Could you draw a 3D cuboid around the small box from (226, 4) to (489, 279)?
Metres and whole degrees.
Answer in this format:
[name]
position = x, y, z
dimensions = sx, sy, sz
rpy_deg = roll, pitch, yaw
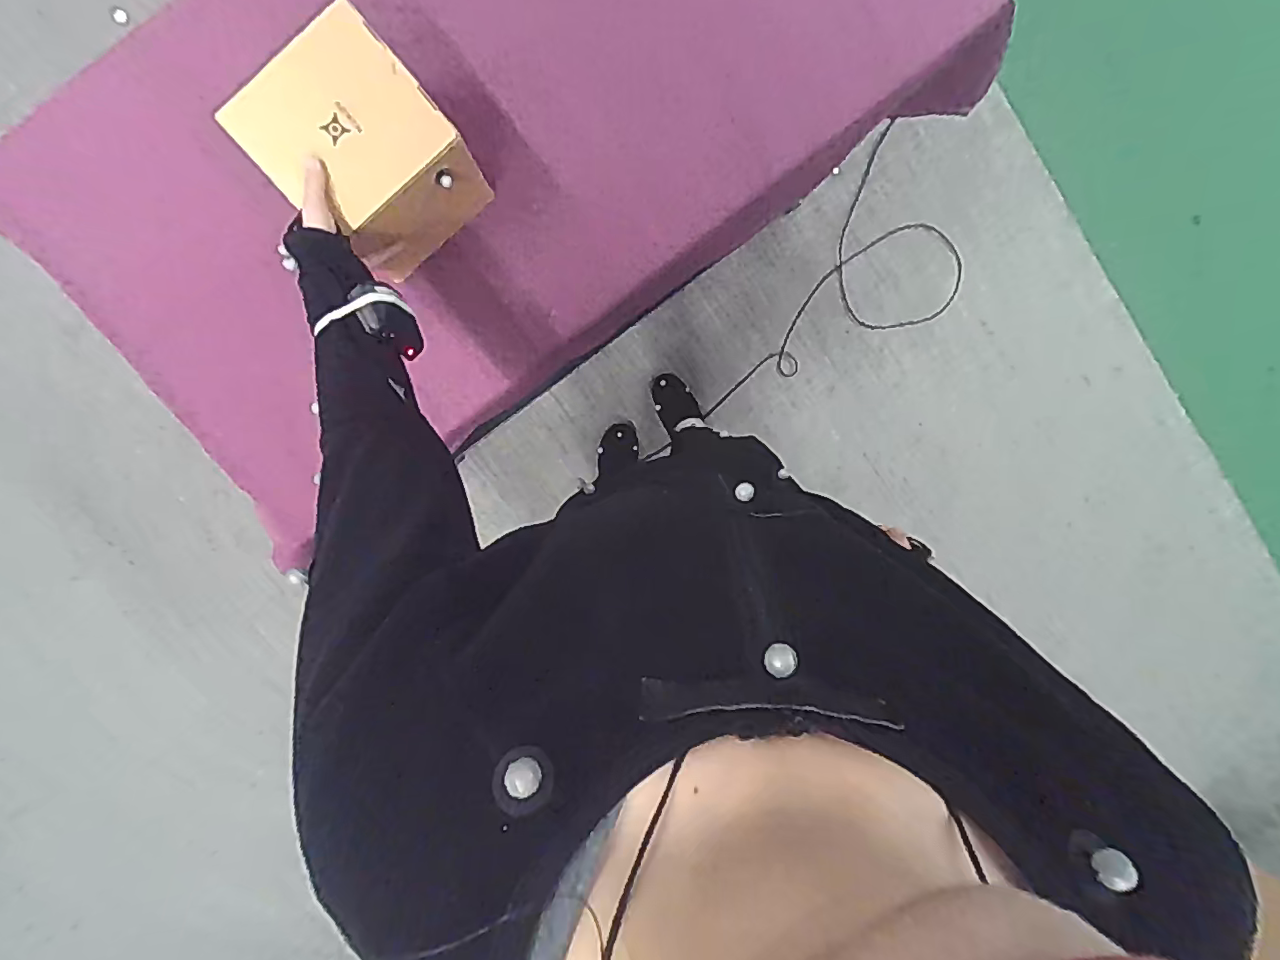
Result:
[small box]
position = -0.302, -0.364, 0.625
dimensions = 0.179, 0.176, 0.168
rpy_deg = -41, 98, 3
